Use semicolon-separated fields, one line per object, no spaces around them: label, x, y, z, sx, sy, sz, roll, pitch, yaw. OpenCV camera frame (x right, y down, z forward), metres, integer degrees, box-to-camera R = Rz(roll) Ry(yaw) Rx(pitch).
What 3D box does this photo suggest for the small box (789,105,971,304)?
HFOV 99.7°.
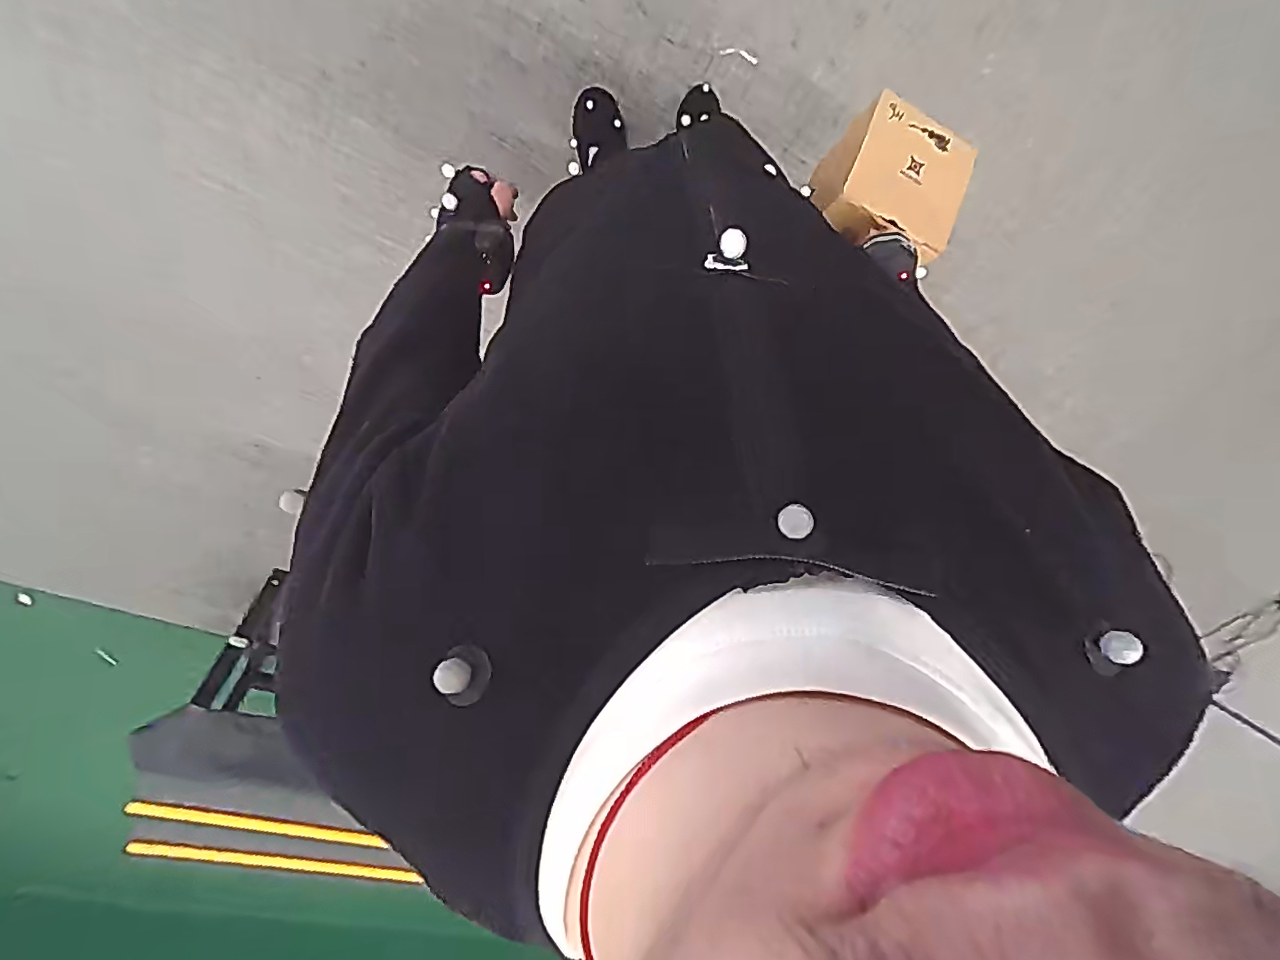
small box;0.348;-0.397;0.815;0.168;0.176;0.179;22;80;-8
